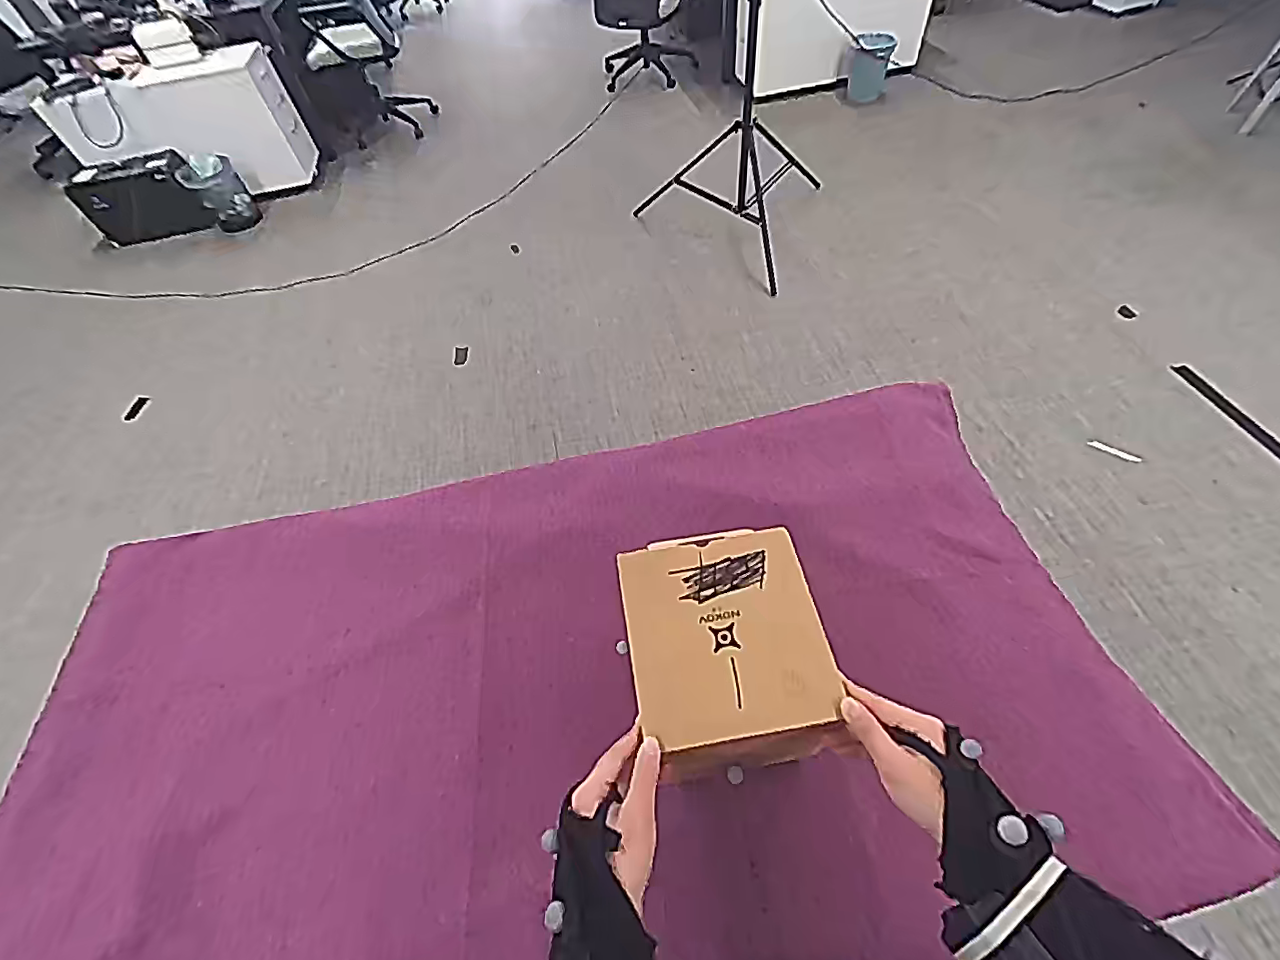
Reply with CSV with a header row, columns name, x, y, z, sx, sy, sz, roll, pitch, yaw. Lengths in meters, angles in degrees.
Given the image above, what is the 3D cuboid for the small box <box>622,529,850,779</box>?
name,x,y,z,sx,sy,sz,roll,pitch,yaw
small box,0.077,0.174,0.533,0.168,0.176,0.179,-9,54,-2
